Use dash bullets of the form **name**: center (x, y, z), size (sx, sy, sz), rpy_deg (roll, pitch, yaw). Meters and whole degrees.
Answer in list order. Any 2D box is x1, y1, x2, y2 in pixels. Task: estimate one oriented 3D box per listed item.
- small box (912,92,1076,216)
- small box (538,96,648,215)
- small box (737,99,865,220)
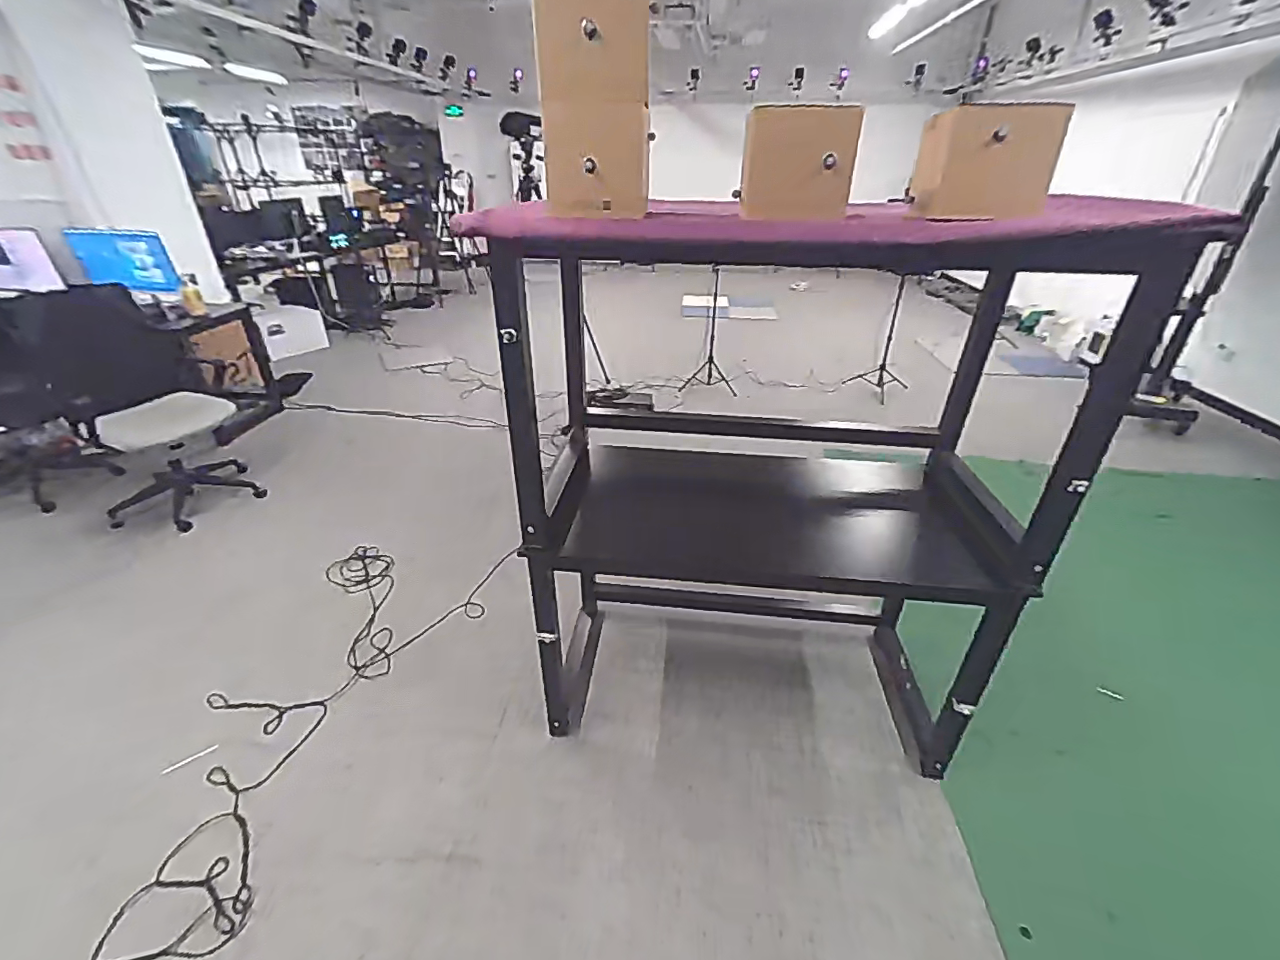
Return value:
- **small box**: center (0.593, -0.556, 0.940), size (0.179, 0.176, 0.168), rpy_deg (4, 29, 7)
- **small box**: center (-0.073, -0.566, 0.951), size (0.168, 0.176, 0.179), rpy_deg (3, 31, 3)
- **small box**: center (0.270, -0.559, 0.949), size (0.179, 0.176, 0.168), rpy_deg (2, 30, 5)
